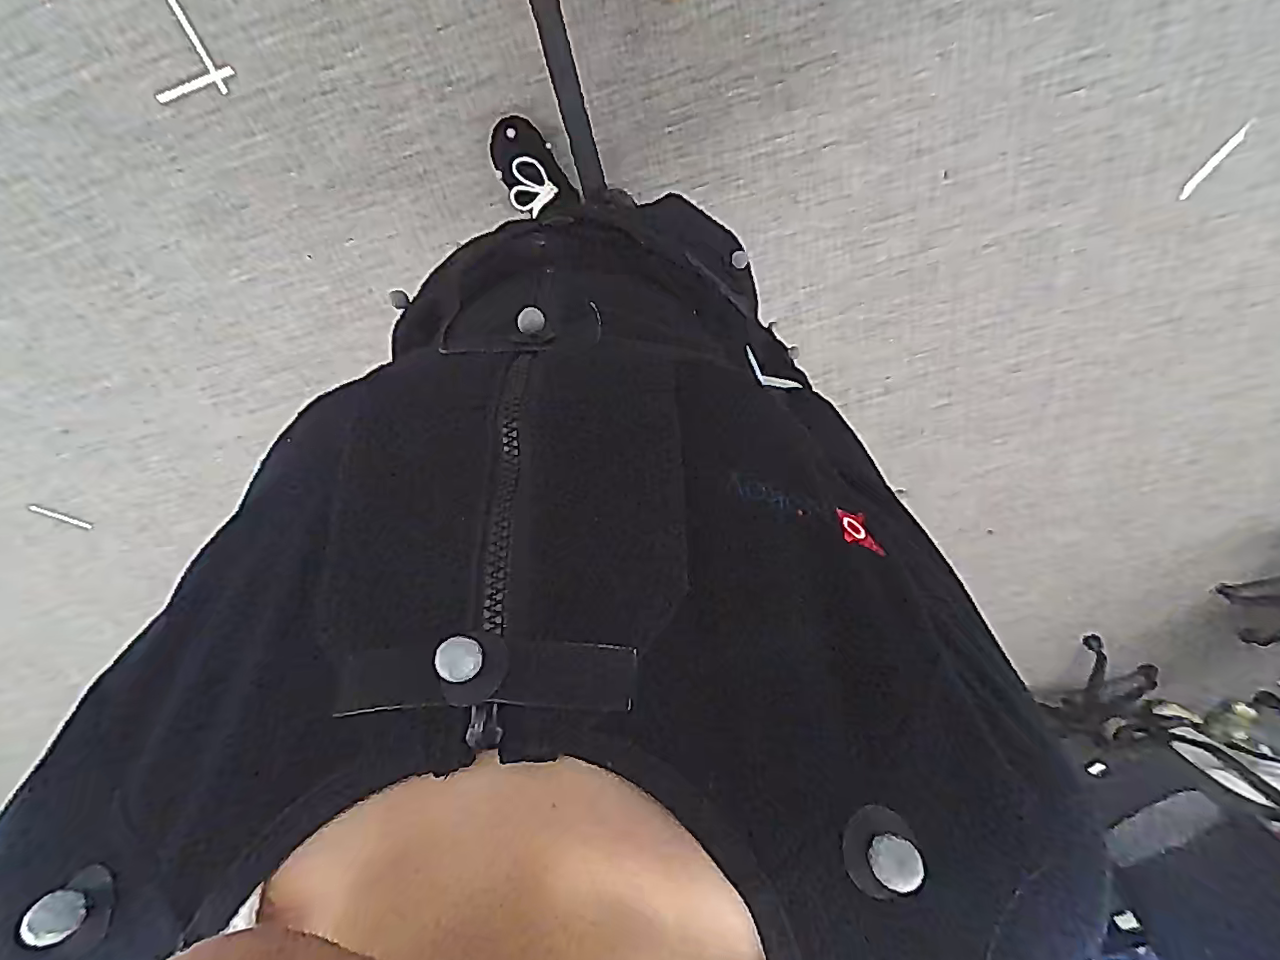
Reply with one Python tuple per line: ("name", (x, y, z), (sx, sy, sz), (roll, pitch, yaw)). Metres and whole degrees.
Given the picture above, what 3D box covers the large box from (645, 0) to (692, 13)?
("large box", (-0.065, -0.915, 0.733), (0.408, 0.320, 0.320), (11, 123, -11))
